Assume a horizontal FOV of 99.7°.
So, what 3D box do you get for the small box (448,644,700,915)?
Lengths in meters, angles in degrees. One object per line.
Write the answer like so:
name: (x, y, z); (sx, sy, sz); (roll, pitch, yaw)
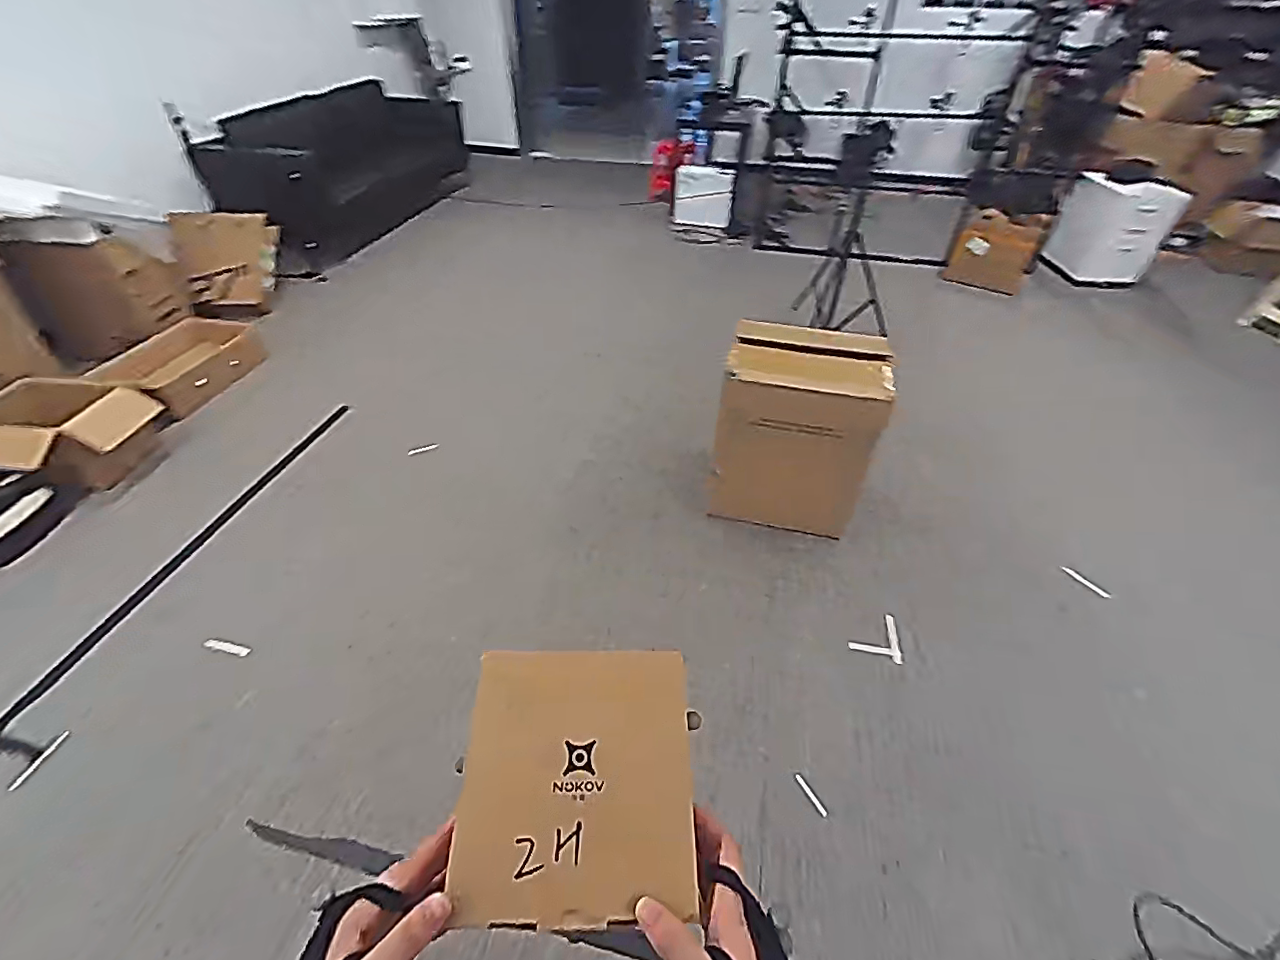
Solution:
small box: (-0.047, 0.255, 0.459); (0.168, 0.176, 0.179); (2, 53, -3)
